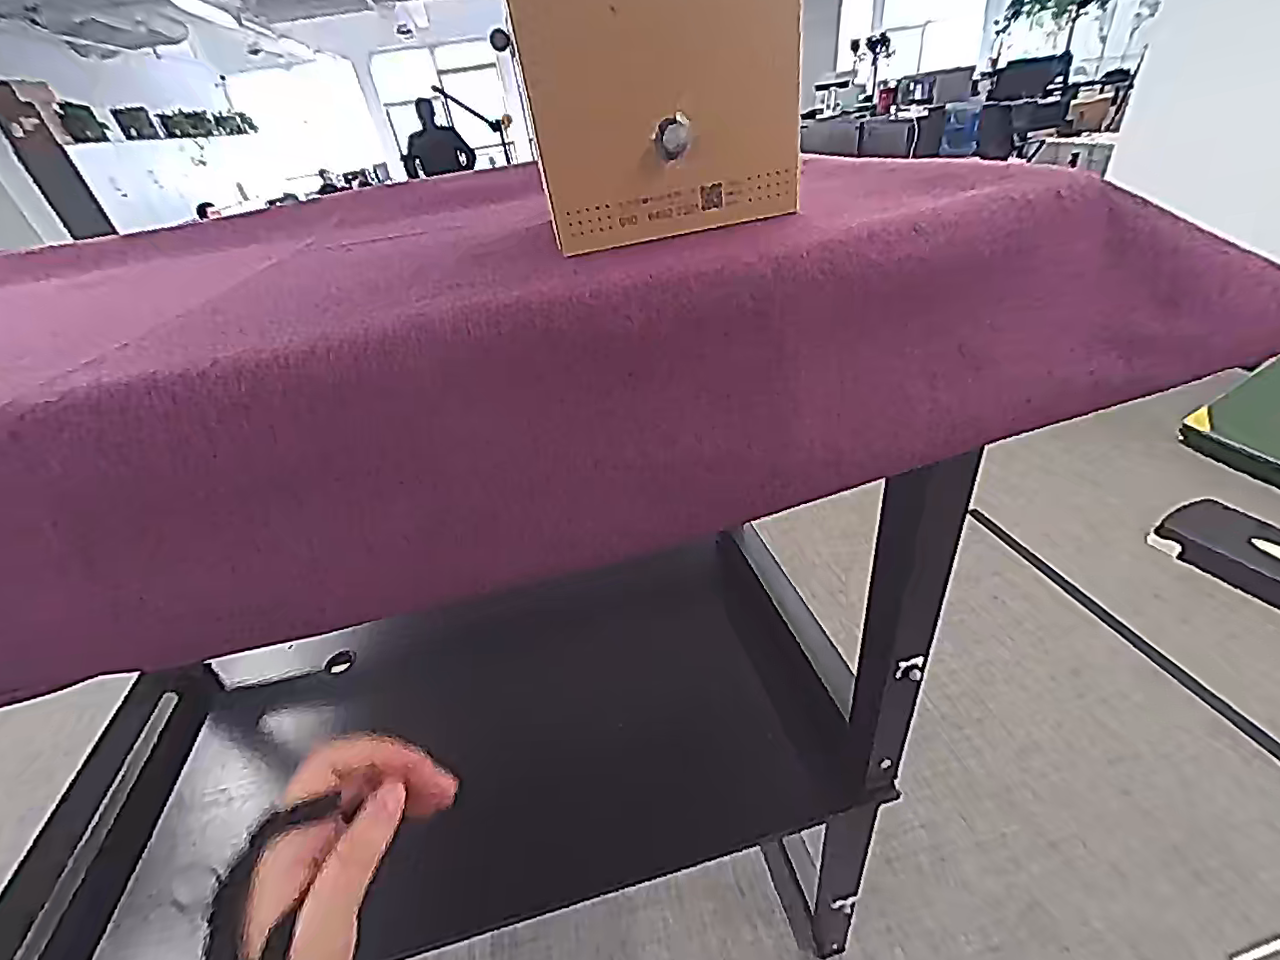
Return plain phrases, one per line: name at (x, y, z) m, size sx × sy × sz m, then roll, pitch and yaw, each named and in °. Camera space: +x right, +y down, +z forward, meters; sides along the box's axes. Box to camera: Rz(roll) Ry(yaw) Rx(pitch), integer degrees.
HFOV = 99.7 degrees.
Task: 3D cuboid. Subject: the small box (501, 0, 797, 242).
small box at (-0.001, -0.278, 0.382) m, size 0.168 × 0.176 × 0.179 m, roll -13°, pitch 34°, yaw -3°
